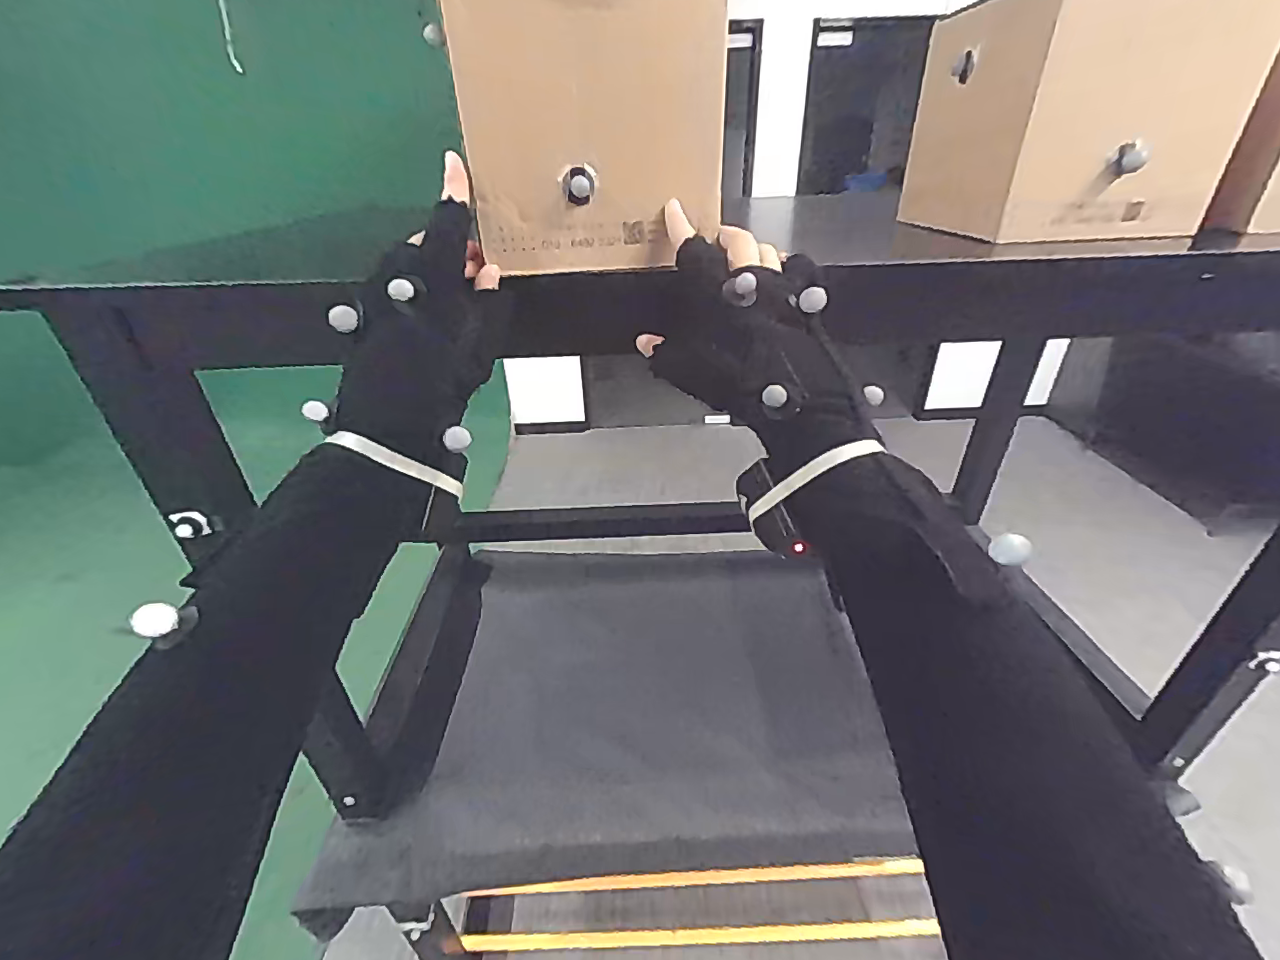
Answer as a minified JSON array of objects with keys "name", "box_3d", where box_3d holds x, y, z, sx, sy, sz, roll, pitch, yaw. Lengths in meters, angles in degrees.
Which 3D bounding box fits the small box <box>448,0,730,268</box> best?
[{"name":"small box","box_3d":[-0.041,-0.261,0.409,0.168,0.176,0.179,-7,32,-8]}]

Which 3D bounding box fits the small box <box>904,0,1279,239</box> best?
[{"name":"small box","box_3d":[0.355,-0.308,0.462,0.168,0.176,0.179,-3,31,-1]}]
